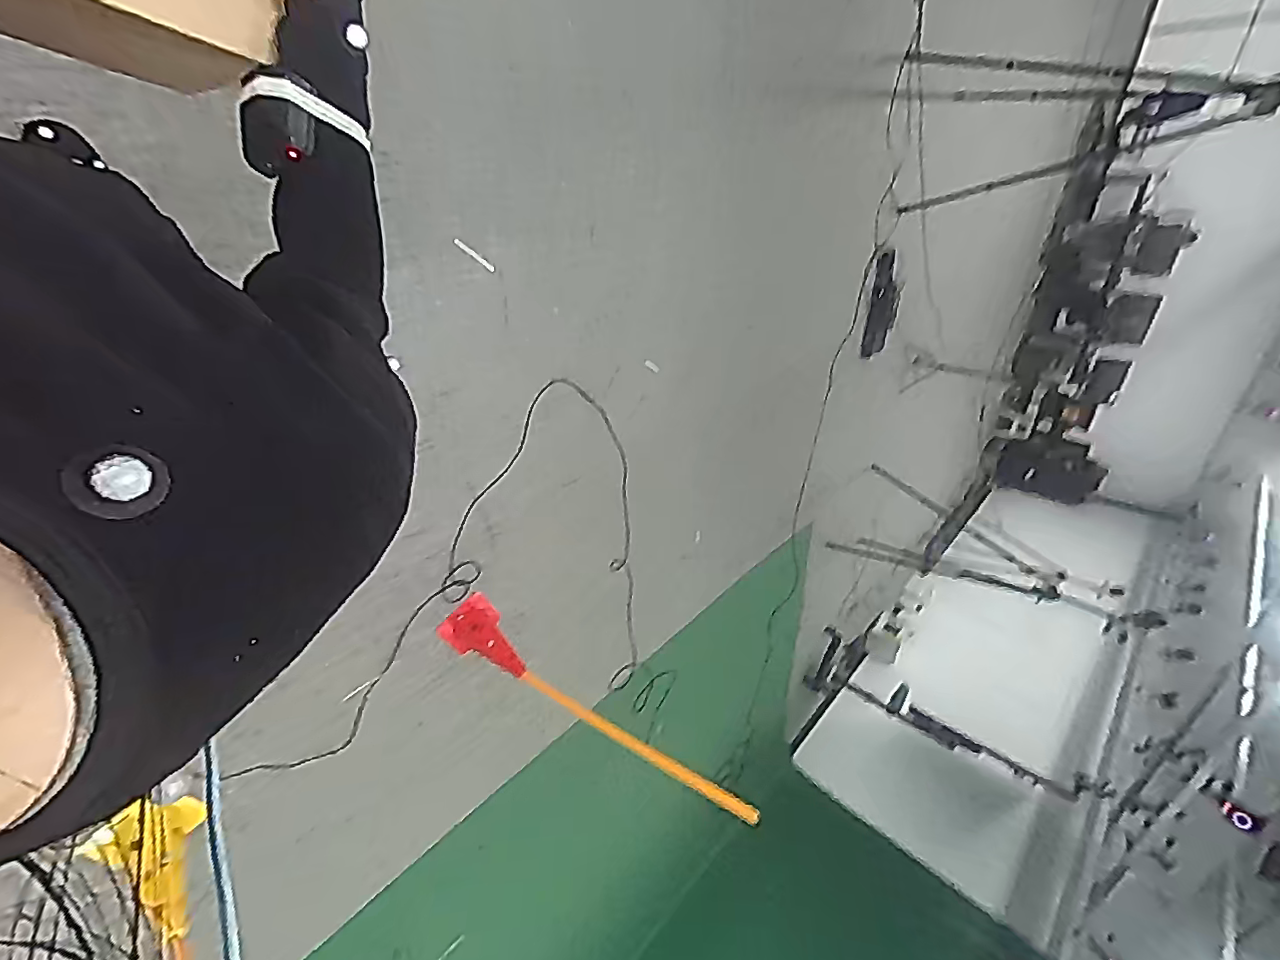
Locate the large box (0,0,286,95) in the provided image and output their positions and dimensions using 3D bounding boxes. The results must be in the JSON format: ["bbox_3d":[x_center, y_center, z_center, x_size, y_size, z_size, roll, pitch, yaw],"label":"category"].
[{"bbox_3d":[-0.509,-0.504,0.348,0.408,0.320,0.320,-10,117,-48],"label":"large box"}]
